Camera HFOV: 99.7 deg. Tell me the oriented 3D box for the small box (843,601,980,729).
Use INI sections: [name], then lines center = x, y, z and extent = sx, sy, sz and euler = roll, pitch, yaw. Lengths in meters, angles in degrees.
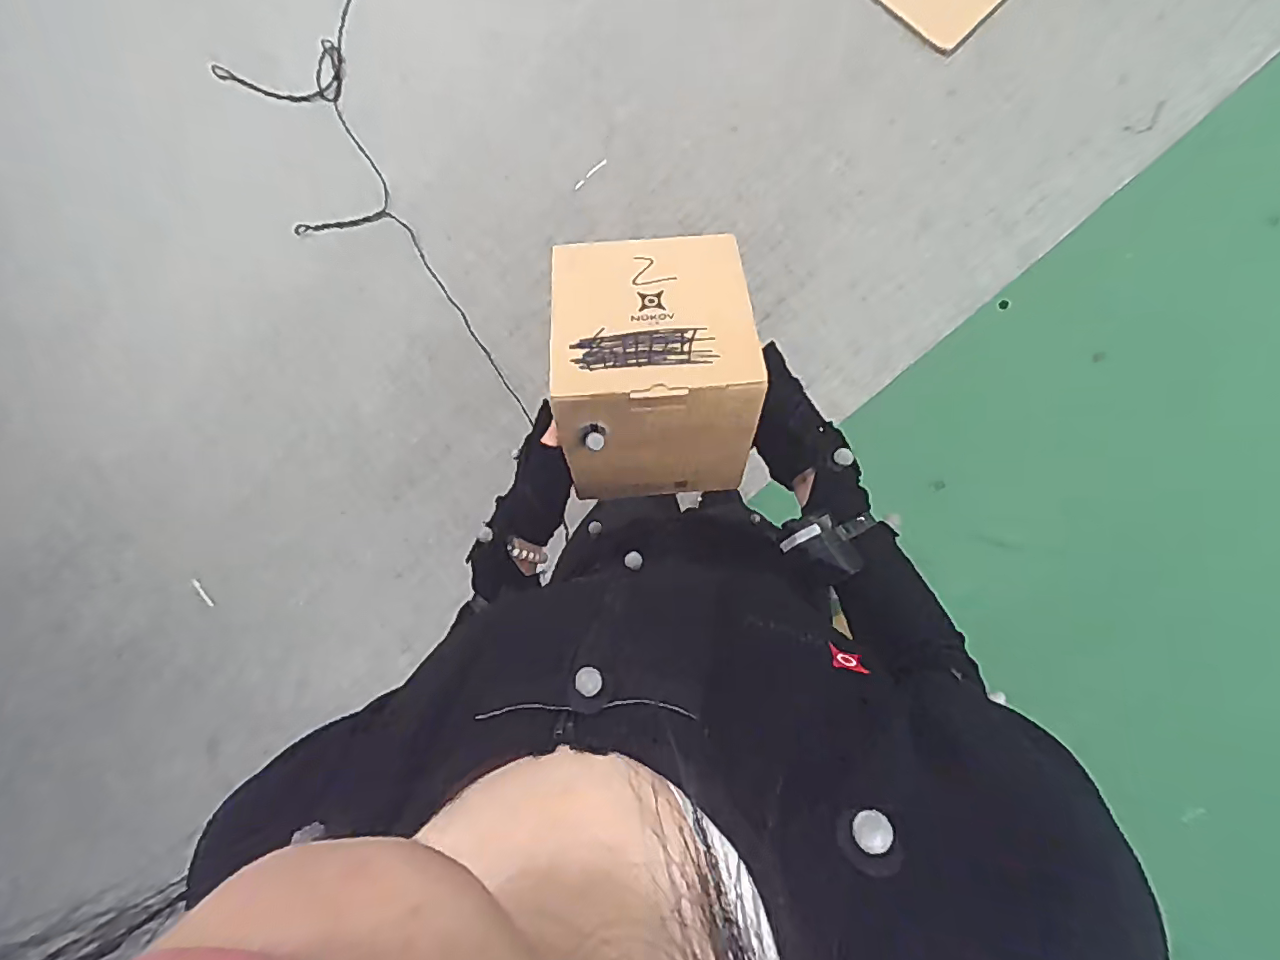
[small box]
center = 0.573, 0.386, 1.167
extent = 0.168, 0.176, 0.179
euler = -45, 83, 6
